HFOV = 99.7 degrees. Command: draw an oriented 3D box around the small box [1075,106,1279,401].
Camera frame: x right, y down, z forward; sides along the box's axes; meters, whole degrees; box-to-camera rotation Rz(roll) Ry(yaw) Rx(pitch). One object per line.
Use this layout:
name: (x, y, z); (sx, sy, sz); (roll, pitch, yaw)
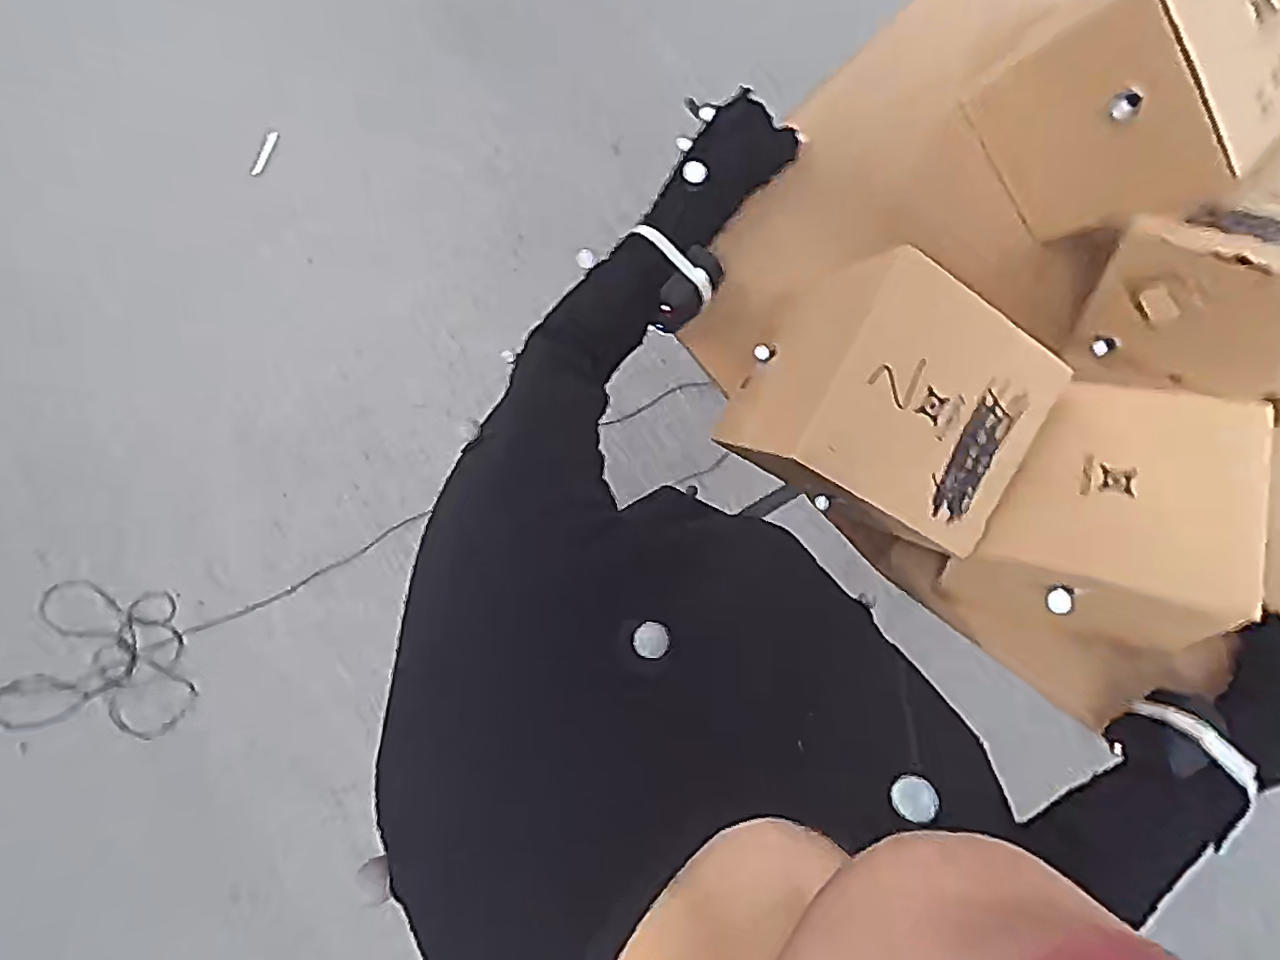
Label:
small box: (0.572, -0.210, 0.524); (0.179, 0.176, 0.168); (-43, 58, -6)
